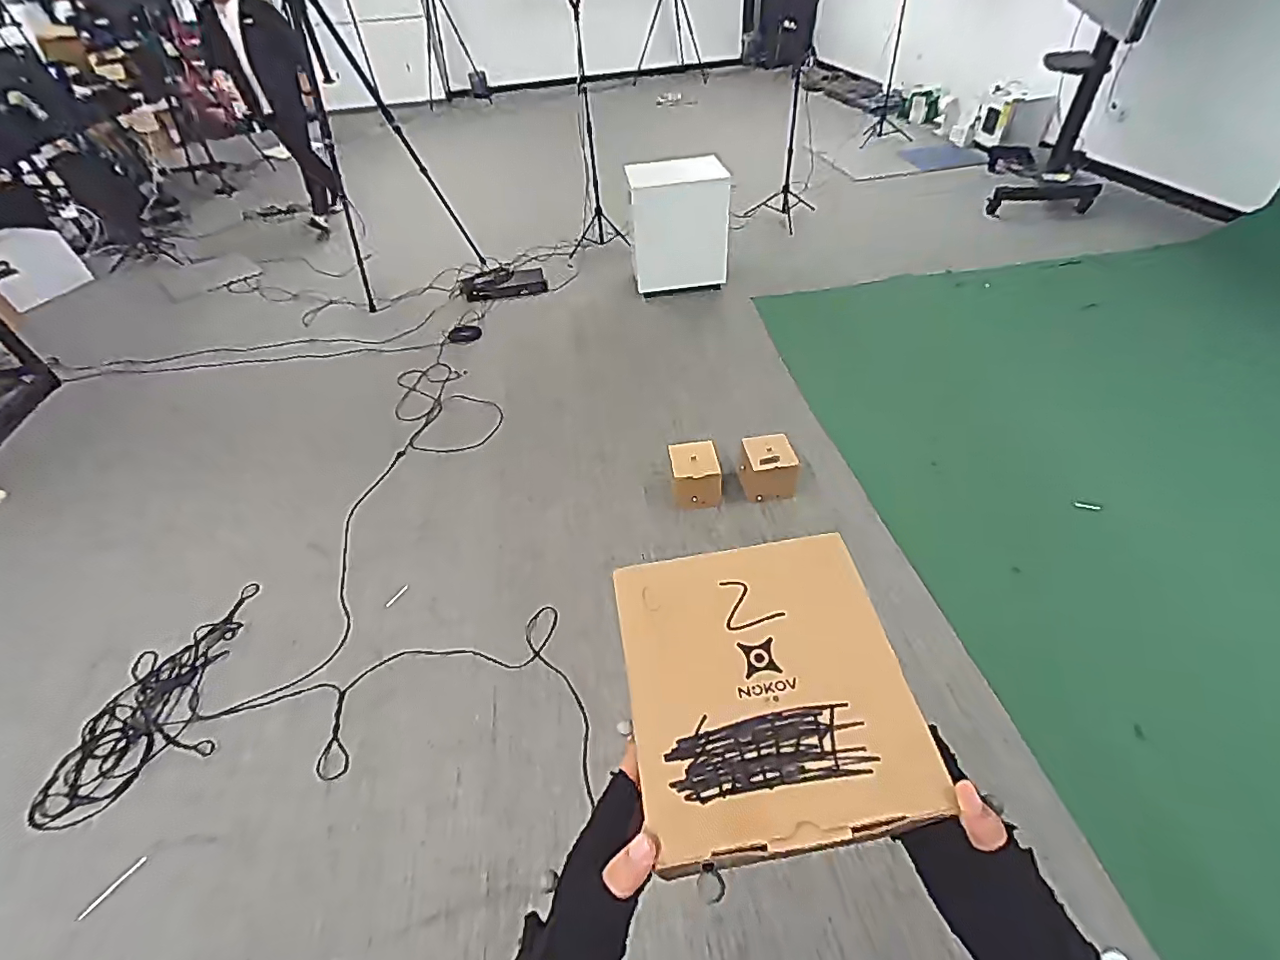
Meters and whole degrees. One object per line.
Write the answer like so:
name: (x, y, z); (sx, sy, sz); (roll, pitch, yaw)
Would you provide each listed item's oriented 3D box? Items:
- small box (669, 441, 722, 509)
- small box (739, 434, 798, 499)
small box: (0.199, -0.018, 1.980); (0.168, 0.176, 0.179); (-7, 45, -2)
small box: (0.466, -0.044, 1.982); (0.168, 0.176, 0.179); (-7, 45, -3)
